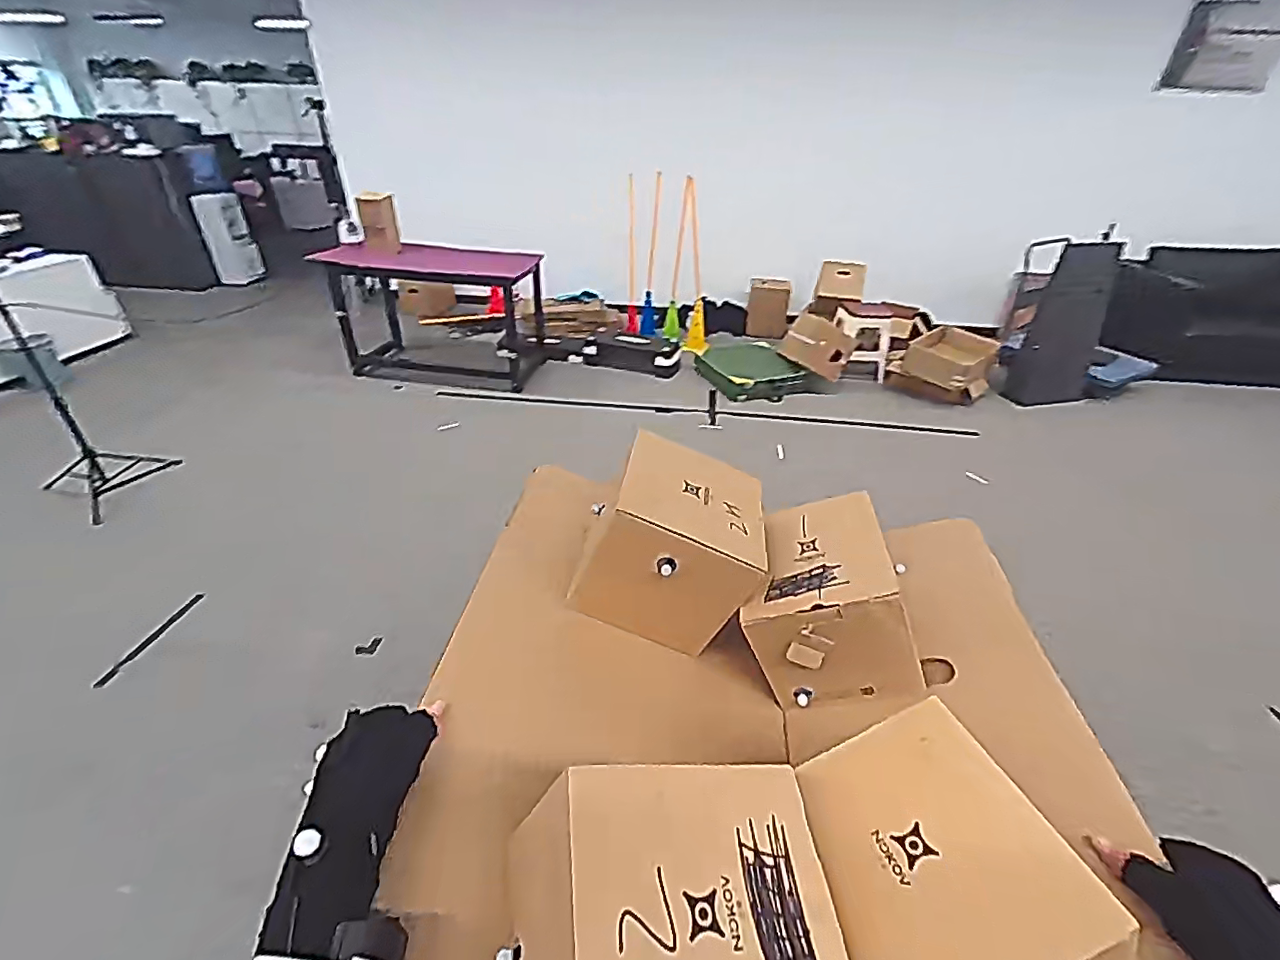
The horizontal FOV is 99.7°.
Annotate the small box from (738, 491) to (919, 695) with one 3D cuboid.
[{"bbox_3d":[0.227,0.145,0.667,0.168,0.176,0.179,-16,30,20],"label":"small box"}]
